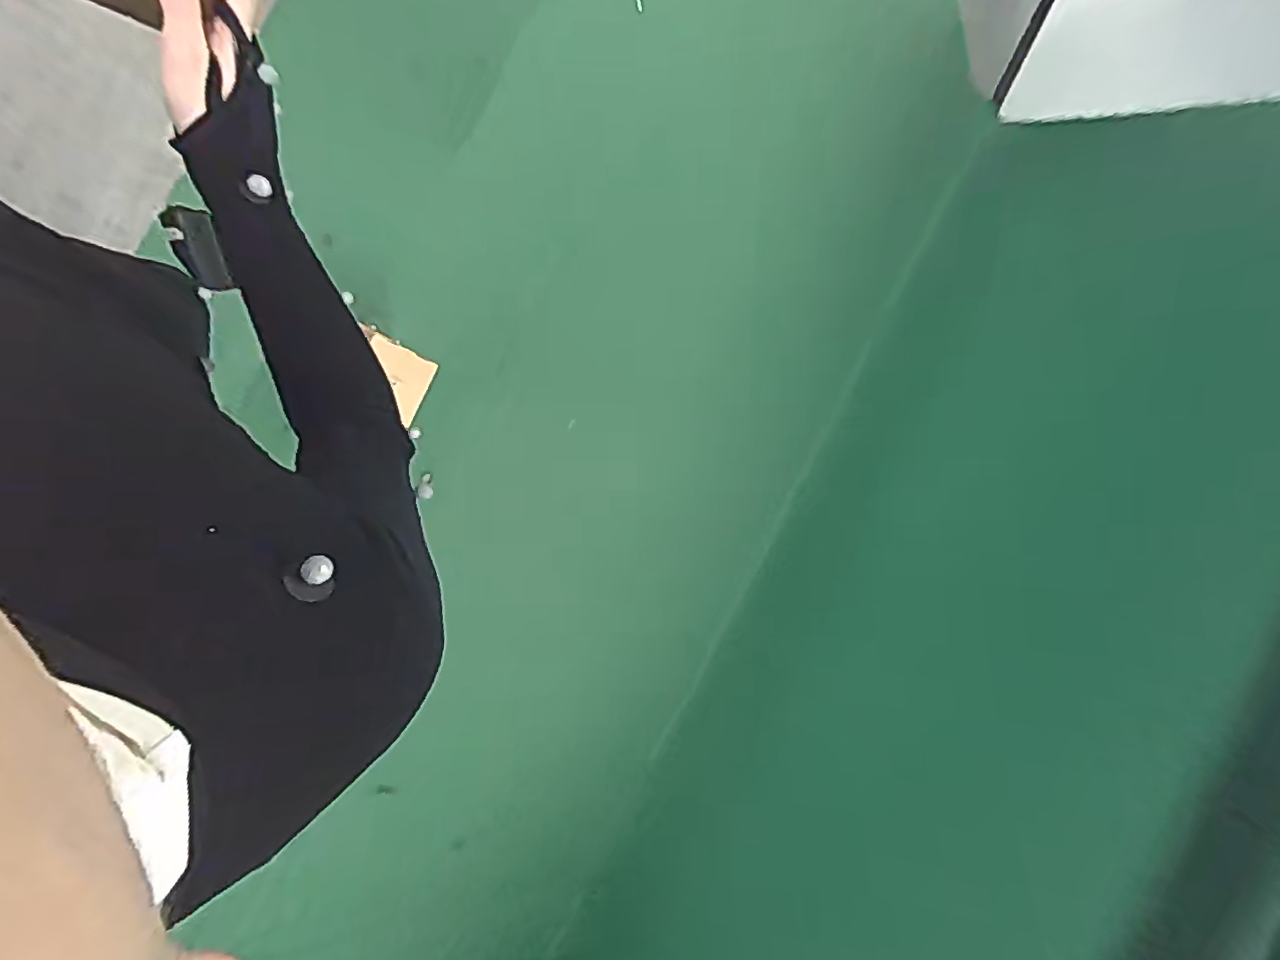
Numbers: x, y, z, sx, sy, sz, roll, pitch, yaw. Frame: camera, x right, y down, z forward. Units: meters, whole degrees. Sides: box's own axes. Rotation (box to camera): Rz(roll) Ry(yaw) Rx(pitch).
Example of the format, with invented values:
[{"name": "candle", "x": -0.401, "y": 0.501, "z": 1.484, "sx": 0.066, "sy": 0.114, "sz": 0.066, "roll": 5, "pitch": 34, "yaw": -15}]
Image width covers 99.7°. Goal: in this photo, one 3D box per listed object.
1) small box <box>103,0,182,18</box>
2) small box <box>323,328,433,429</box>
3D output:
[{"name": "small box", "x": -0.396, "y": -0.443, "z": 0.342, "sx": 0.179, "sy": 0.176, "sz": 0.168, "roll": -3, "pitch": 111, "yaw": -47}, {"name": "small box", "x": -0.644, "y": -0.249, "z": 1.319, "sx": 0.168, "sy": 0.176, "sz": 0.179, "roll": 26, "pitch": 89, "yaw": -48}]
